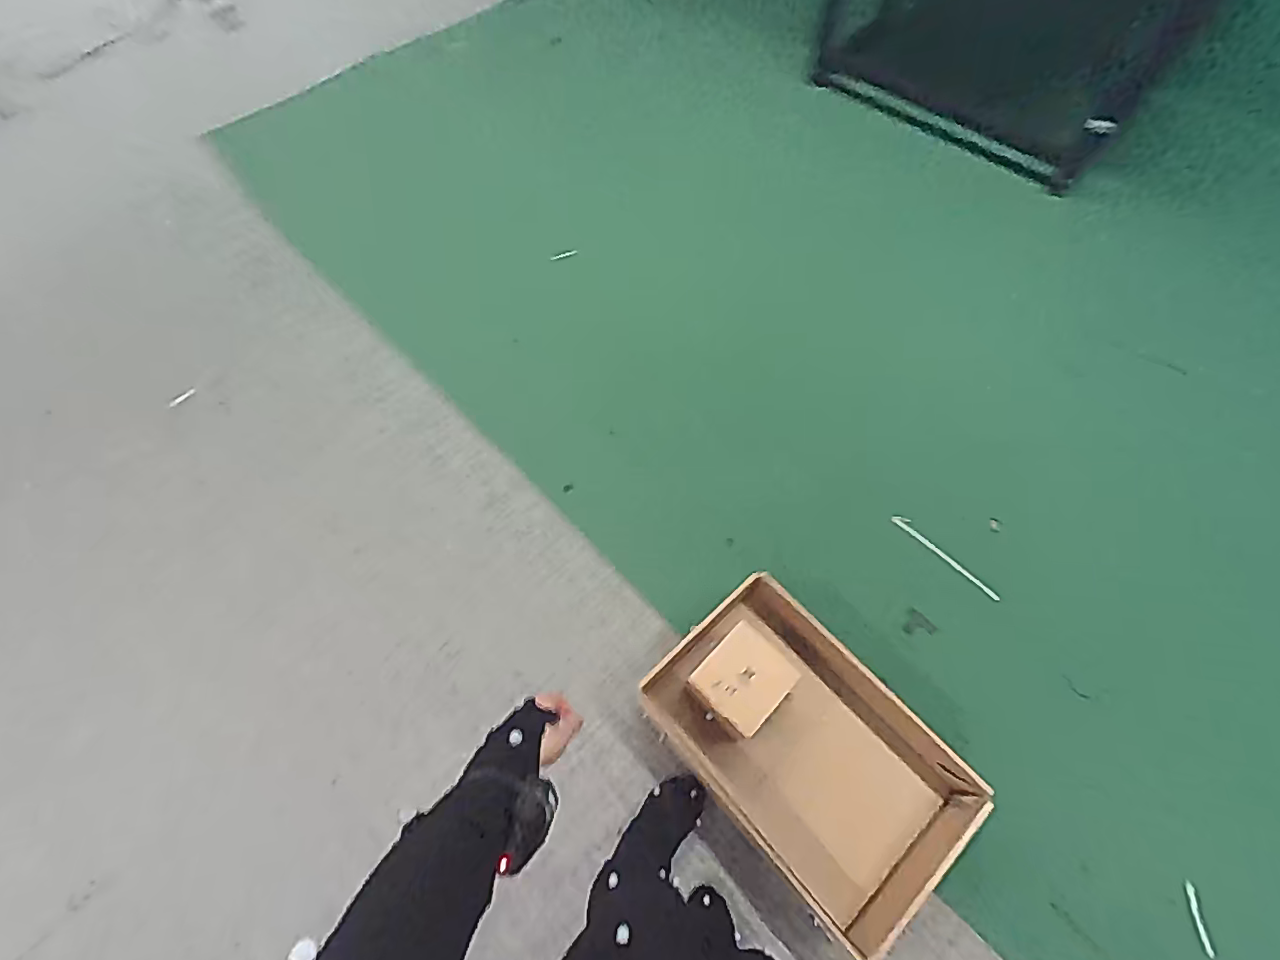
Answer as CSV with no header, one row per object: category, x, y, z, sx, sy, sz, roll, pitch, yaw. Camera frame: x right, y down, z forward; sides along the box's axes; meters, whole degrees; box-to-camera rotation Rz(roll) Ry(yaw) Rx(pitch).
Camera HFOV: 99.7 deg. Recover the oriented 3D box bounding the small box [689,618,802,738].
small box,0.219,0.435,1.182,0.179,0.176,0.168,-41,69,-17
